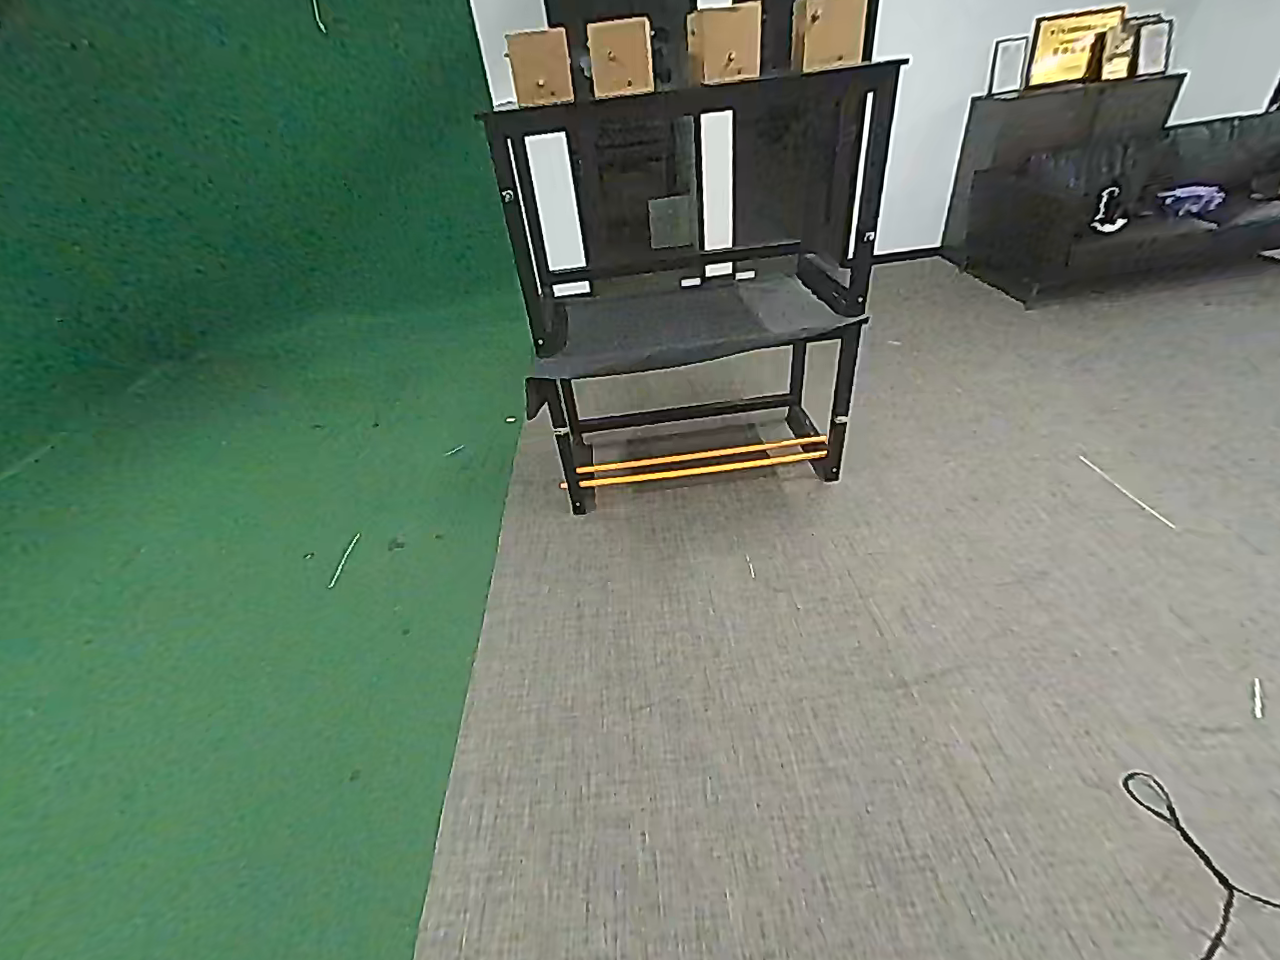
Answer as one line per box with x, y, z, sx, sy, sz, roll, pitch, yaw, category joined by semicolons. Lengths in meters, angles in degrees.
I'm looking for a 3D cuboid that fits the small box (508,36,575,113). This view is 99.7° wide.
-0.293;-1.205;1.613;0.168;0.176;0.179;-11;37;-6;small box

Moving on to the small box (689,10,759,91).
0.242;-1.255;1.590;0.168;0.176;0.179;-11;37;-4;small box
